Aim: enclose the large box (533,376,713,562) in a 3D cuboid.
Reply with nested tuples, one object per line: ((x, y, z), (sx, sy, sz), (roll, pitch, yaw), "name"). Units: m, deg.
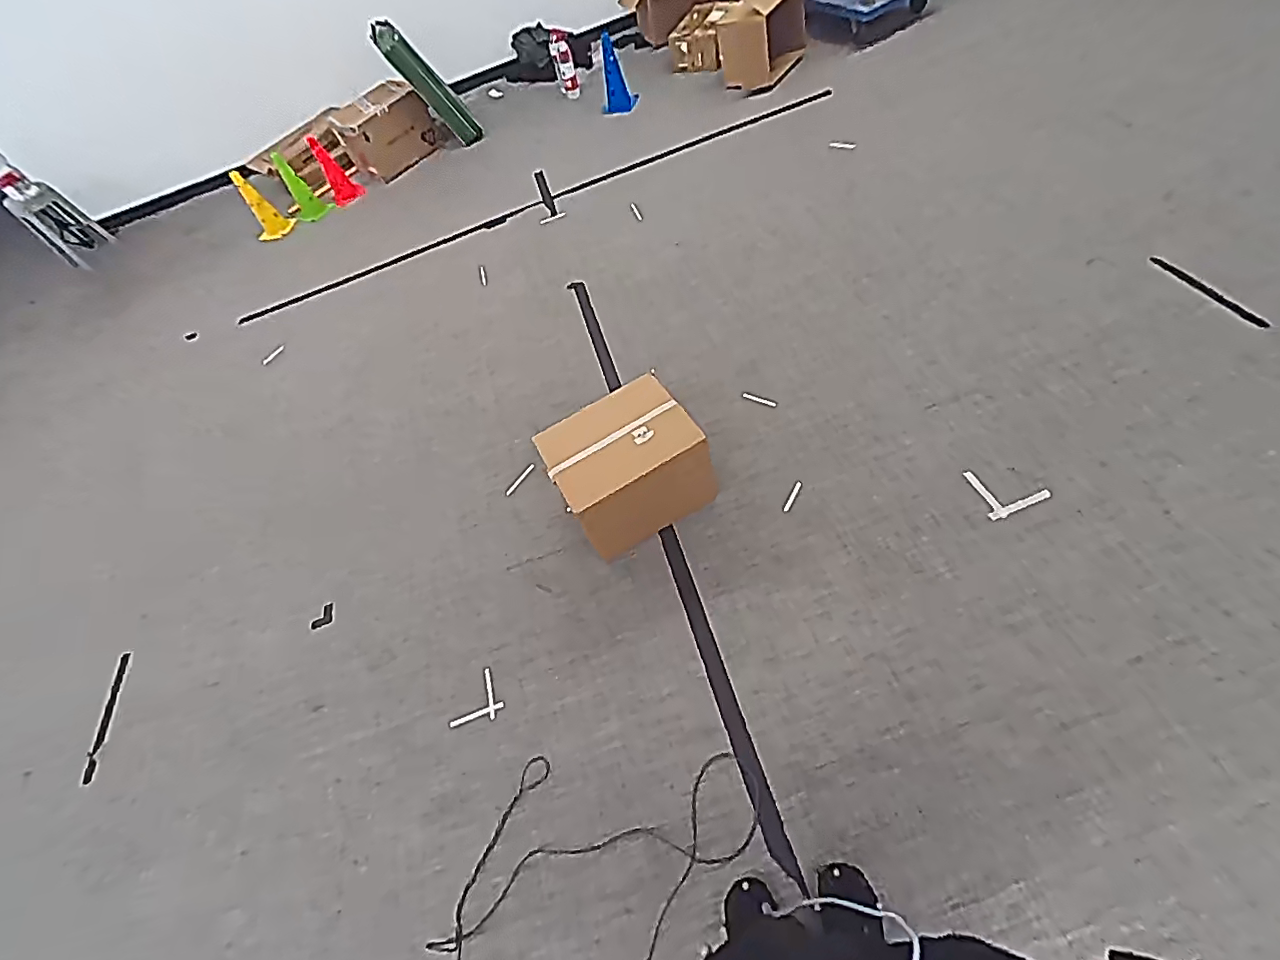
((-0.041, -0.028, 1.610), (0.408, 0.320, 0.320), (-30, 56, -7), "large box")
